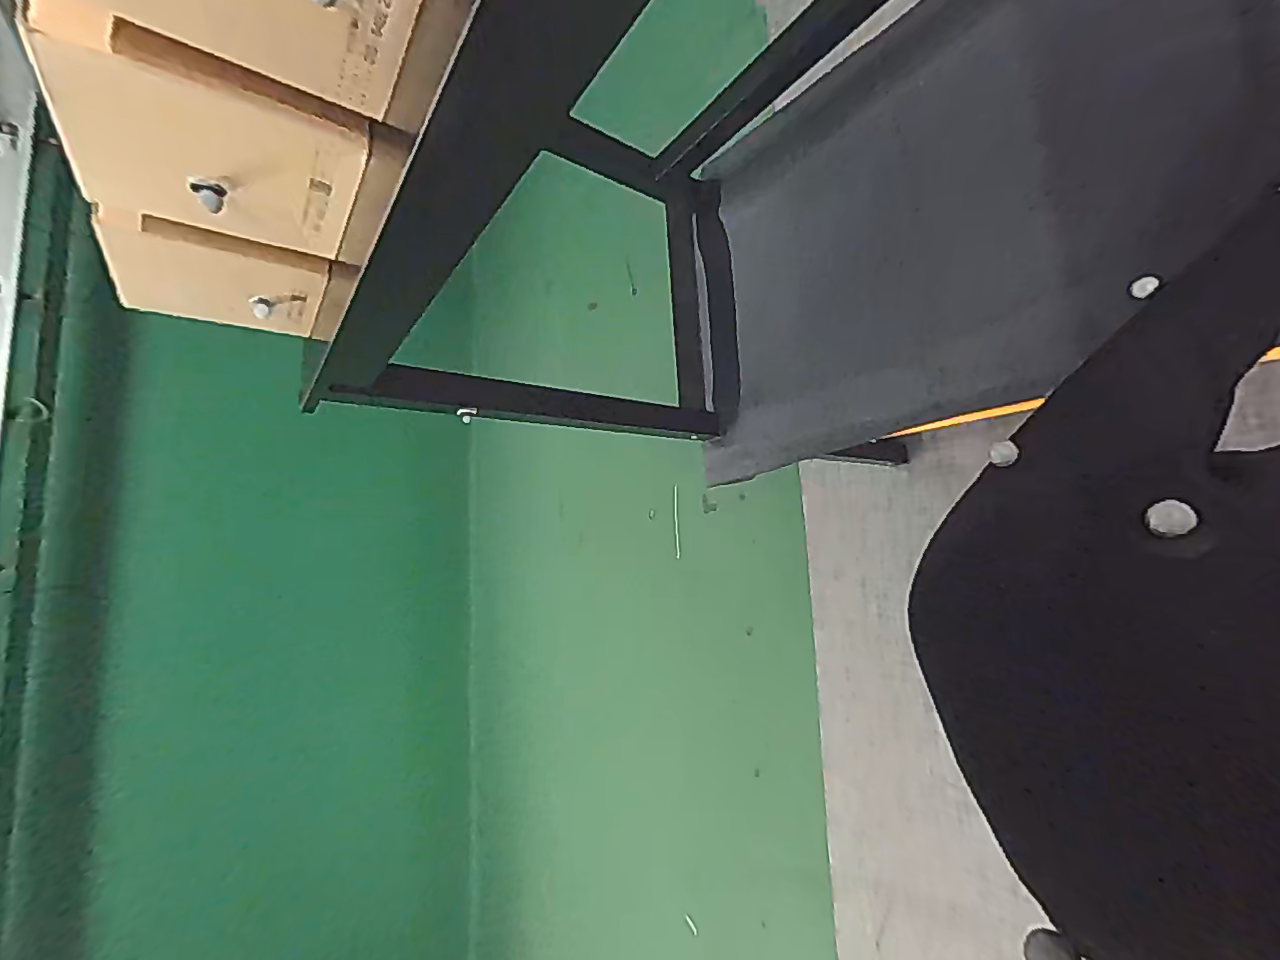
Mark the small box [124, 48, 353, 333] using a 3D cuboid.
[{"bbox_3d":[-0.407,-0.275,0.564,0.168,0.176,0.179,-15,77,52],"label":"small box"}]
